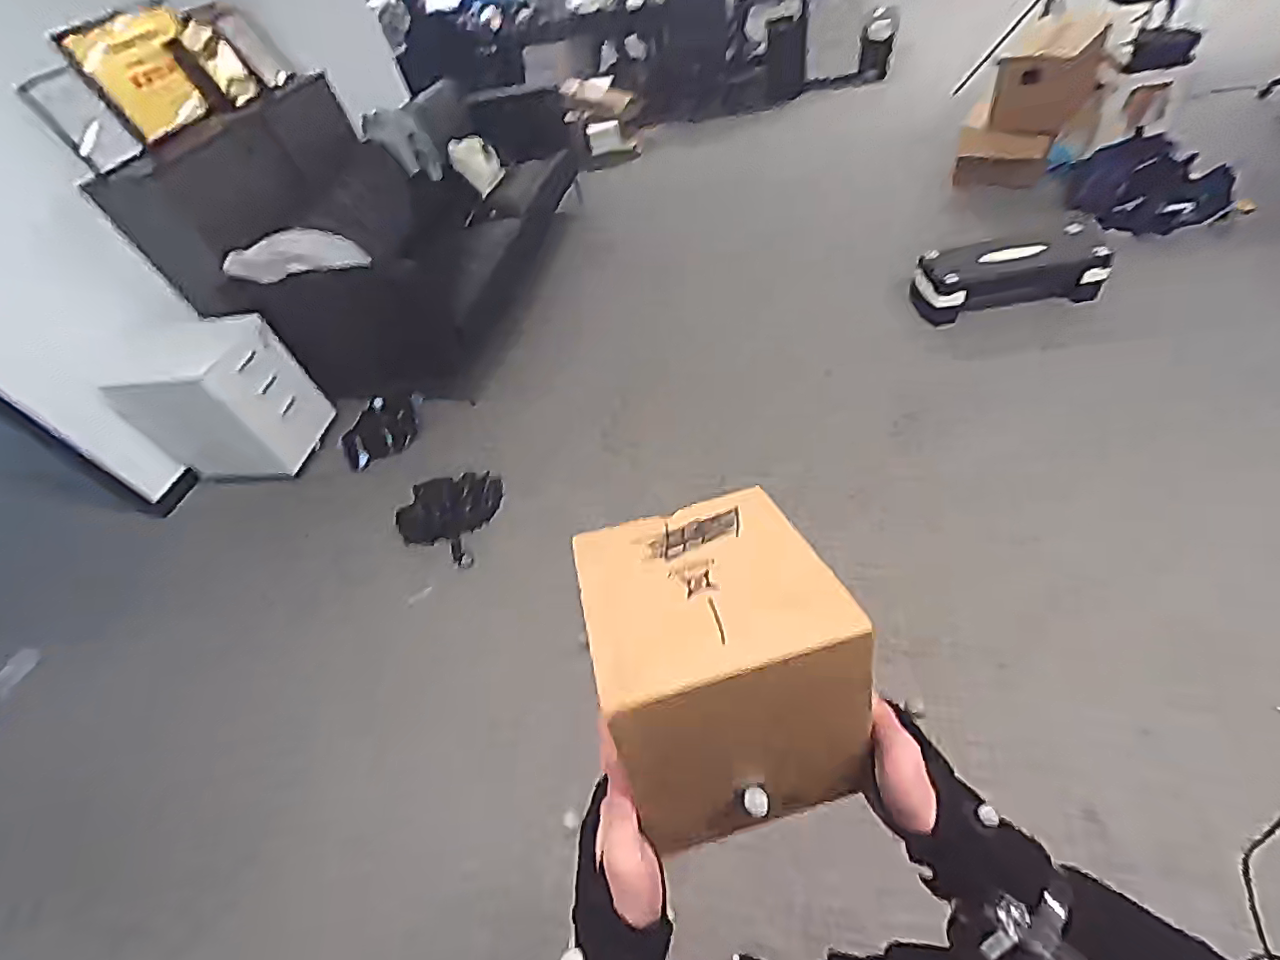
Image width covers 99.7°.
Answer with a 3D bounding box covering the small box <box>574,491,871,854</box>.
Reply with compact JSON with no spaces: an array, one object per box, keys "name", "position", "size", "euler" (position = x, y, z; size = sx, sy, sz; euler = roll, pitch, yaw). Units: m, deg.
[{"name":"small box","position":[0.053,0.138,0.416],"size":[0.168,0.176,0.179],"euler":[-15,32,-4]}]
